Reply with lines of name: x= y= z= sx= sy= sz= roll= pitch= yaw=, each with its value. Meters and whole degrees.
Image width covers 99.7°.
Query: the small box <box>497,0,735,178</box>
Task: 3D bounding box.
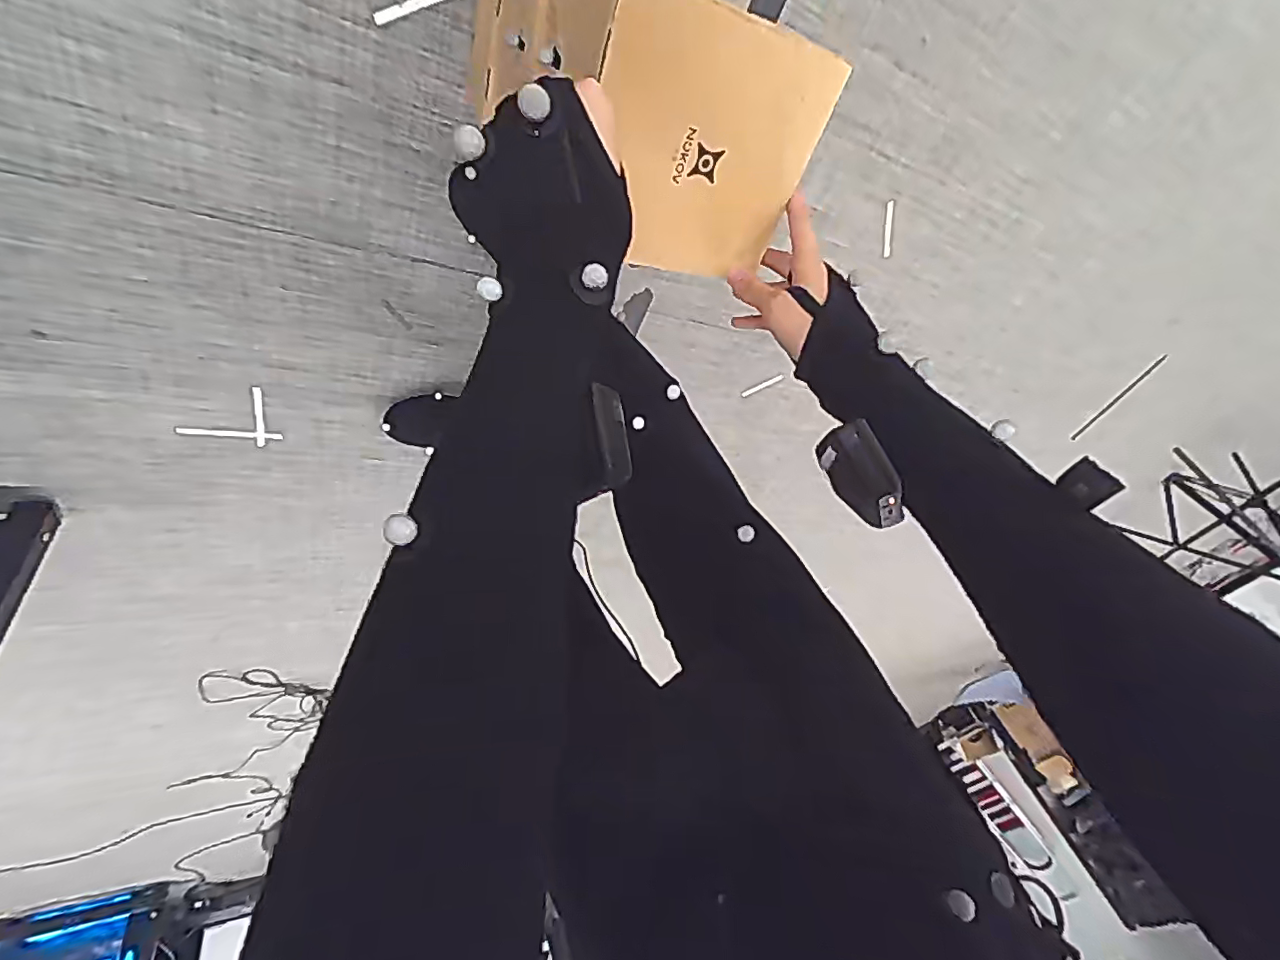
small box: x=-0.040 y=-0.402 z=0.529 sx=0.168 sy=0.176 sz=0.179 roll=-1 pitch=137 yaw=-25

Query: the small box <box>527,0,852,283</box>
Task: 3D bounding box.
small box: x=0.020 y=-0.285 z=0.432 sx=0.179 sy=0.176 sz=0.168 roll=0 pitch=136 yaw=-25
